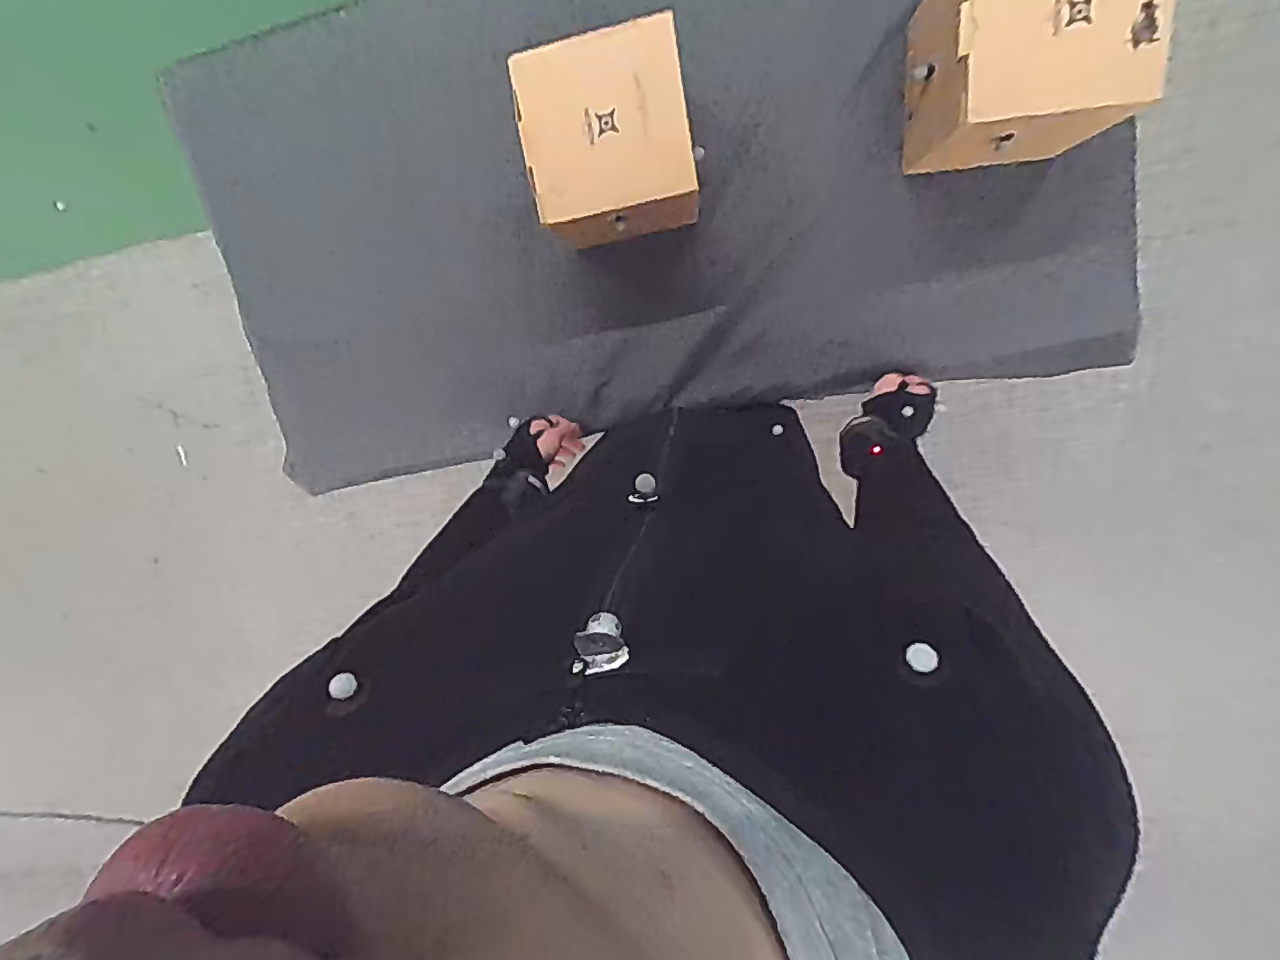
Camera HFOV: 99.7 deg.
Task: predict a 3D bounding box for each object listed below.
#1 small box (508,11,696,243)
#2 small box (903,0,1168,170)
[{"bbox_3d":[-0.031,-0.392,0.638,0.179,0.176,0.168,-9,104,7],"label":"small box"},{"bbox_3d":[0.396,-0.447,0.572,0.179,0.176,0.168,-2,105,8],"label":"small box"}]
